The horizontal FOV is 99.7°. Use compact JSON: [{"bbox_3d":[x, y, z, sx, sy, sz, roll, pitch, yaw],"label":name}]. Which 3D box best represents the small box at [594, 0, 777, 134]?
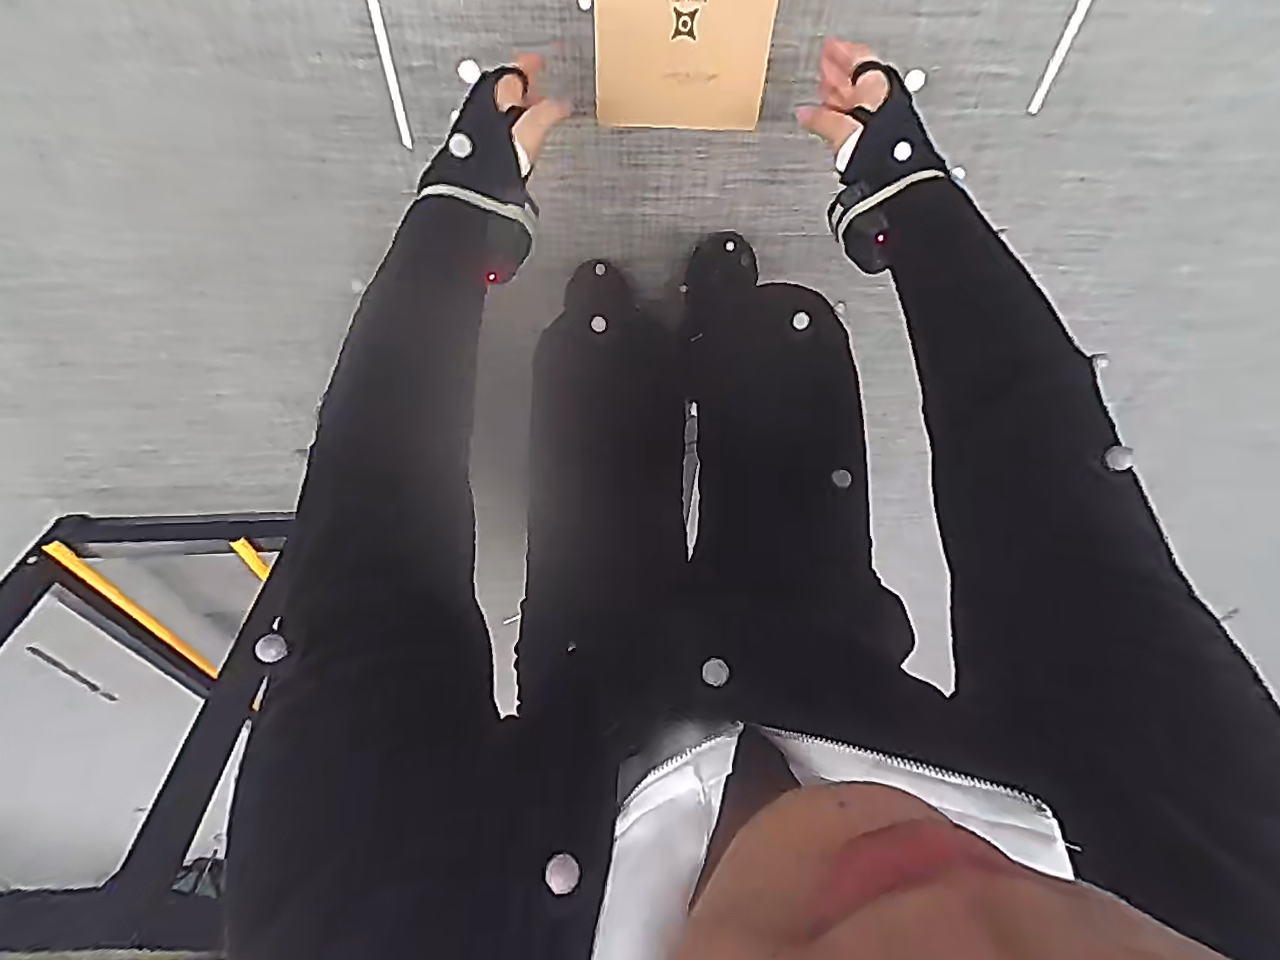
[{"bbox_3d":[0.037,-0.474,0.545,0.168,0.176,0.179,0,138,-2],"label":"small box"}]
